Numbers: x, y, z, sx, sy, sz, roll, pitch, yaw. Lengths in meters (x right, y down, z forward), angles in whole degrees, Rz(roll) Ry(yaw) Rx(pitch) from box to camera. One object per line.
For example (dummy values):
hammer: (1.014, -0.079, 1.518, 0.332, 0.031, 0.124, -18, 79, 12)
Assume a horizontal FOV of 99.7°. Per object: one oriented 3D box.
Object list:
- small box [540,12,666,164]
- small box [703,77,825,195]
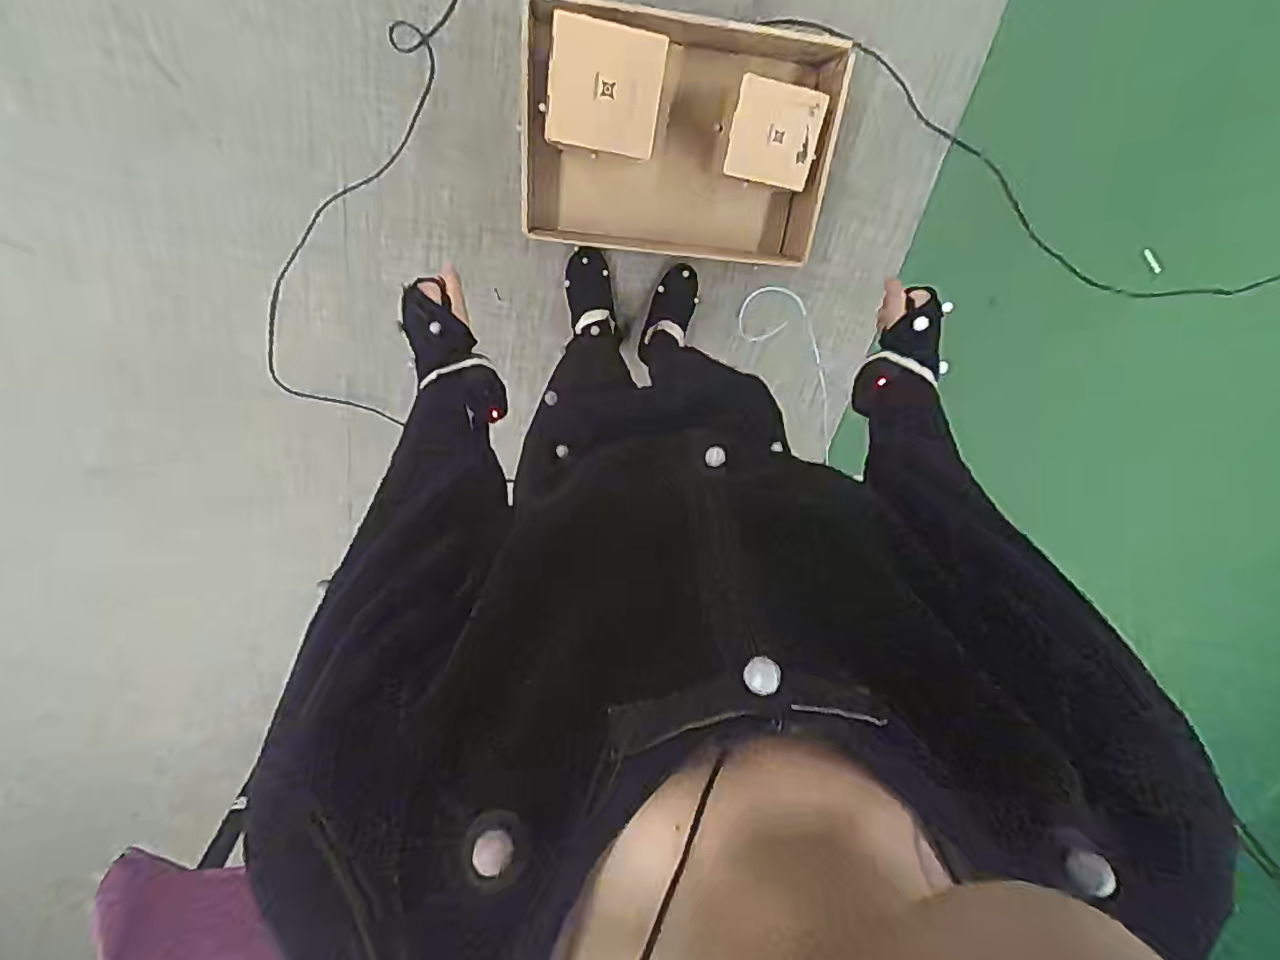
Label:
small box: (-0.069, -0.639, 0.906, 0.179, 0.176, 0.168, 6, 118, -11)
small box: (0.241, -0.689, 1.105, 0.179, 0.176, 0.168, 7, 117, -11)
